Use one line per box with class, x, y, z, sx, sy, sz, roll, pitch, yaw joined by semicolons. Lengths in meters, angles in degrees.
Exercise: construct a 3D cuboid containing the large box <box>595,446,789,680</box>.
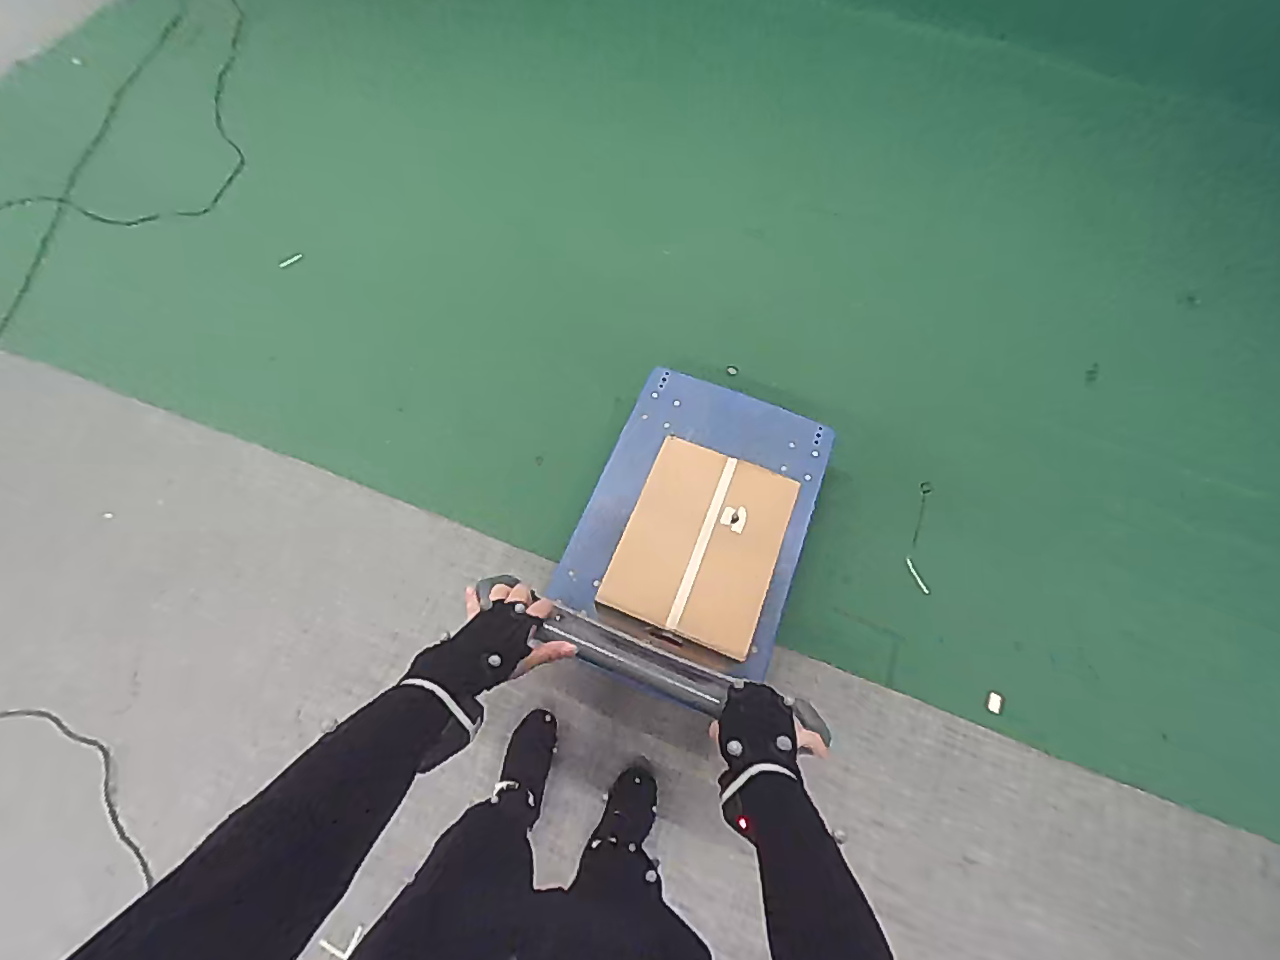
large box;0.114;0.202;1.257;0.320;0.320;0.408;21;65;6
